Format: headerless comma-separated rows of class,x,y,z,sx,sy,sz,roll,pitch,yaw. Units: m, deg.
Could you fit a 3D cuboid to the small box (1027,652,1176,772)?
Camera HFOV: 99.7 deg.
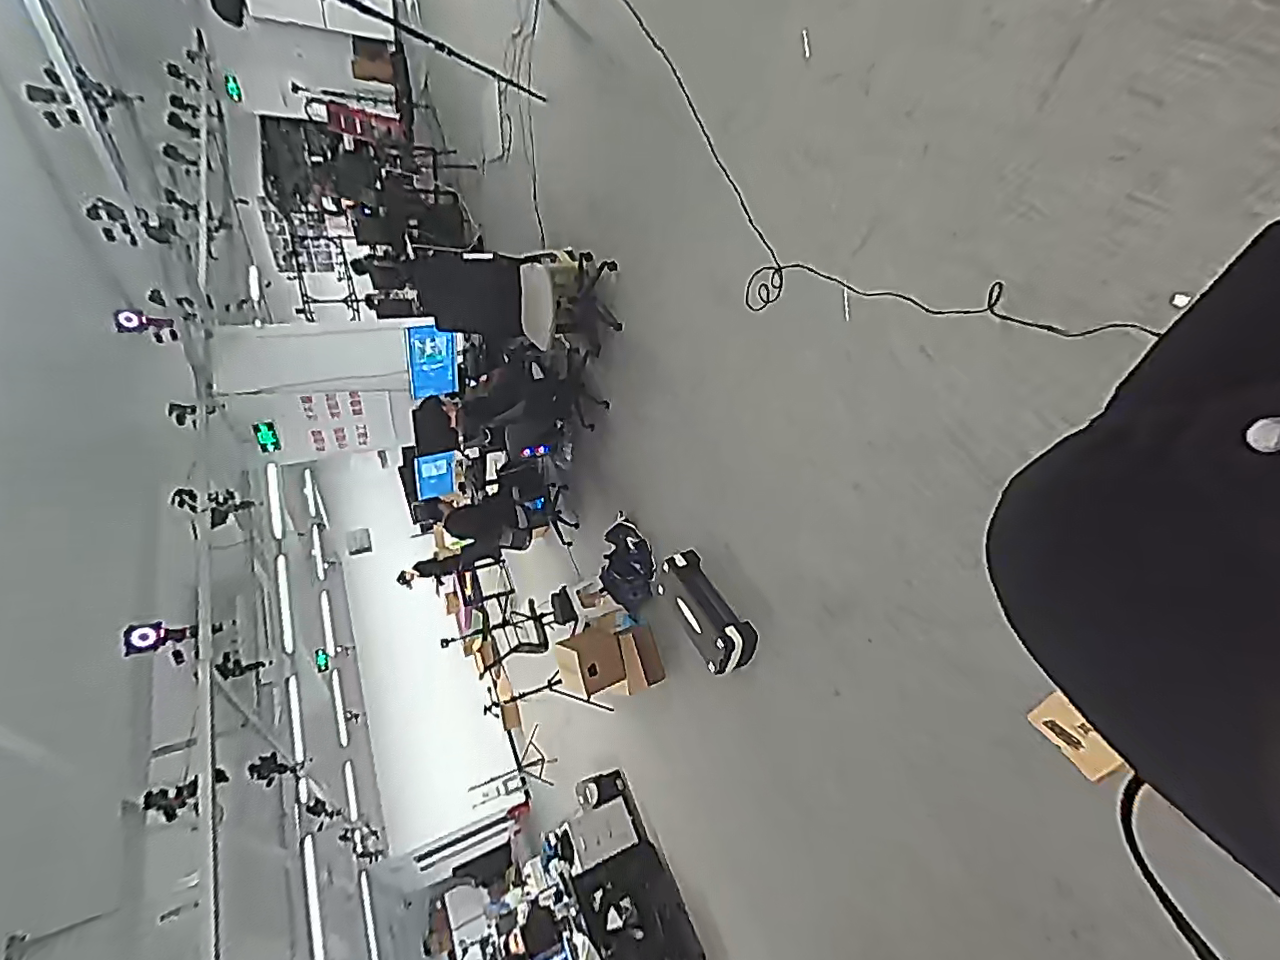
small box,1.059,0.528,1.242,0.168,0.176,0.179,54,145,41
